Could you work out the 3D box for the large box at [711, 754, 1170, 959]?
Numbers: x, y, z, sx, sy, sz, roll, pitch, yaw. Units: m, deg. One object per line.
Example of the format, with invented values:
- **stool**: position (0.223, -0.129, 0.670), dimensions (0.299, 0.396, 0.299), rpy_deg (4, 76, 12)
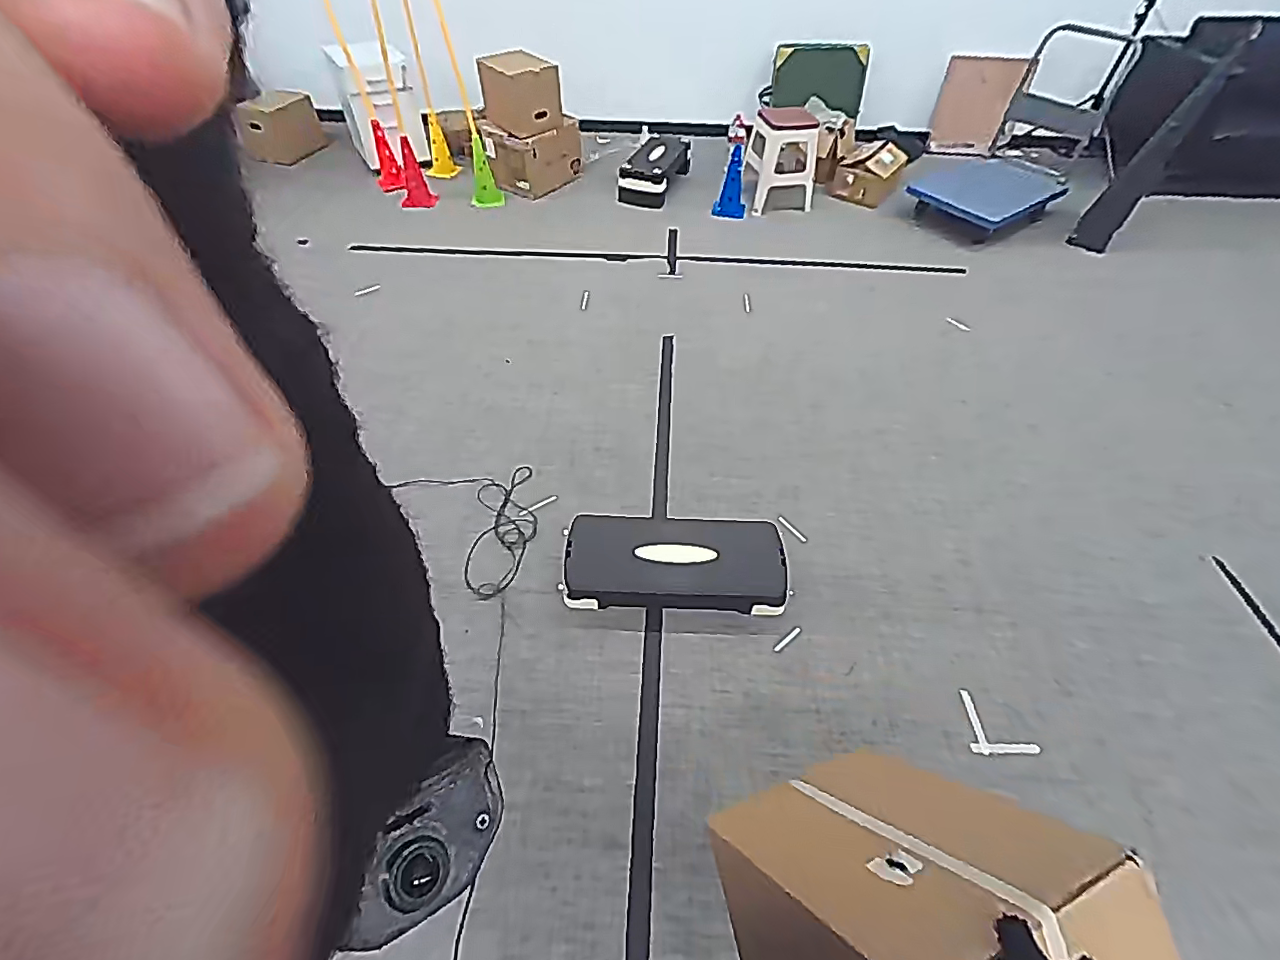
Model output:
- **large box**: position (0.339, 0.594, 0.664), dimensions (0.320, 0.408, 0.320), rpy_deg (-10, 83, -21)
